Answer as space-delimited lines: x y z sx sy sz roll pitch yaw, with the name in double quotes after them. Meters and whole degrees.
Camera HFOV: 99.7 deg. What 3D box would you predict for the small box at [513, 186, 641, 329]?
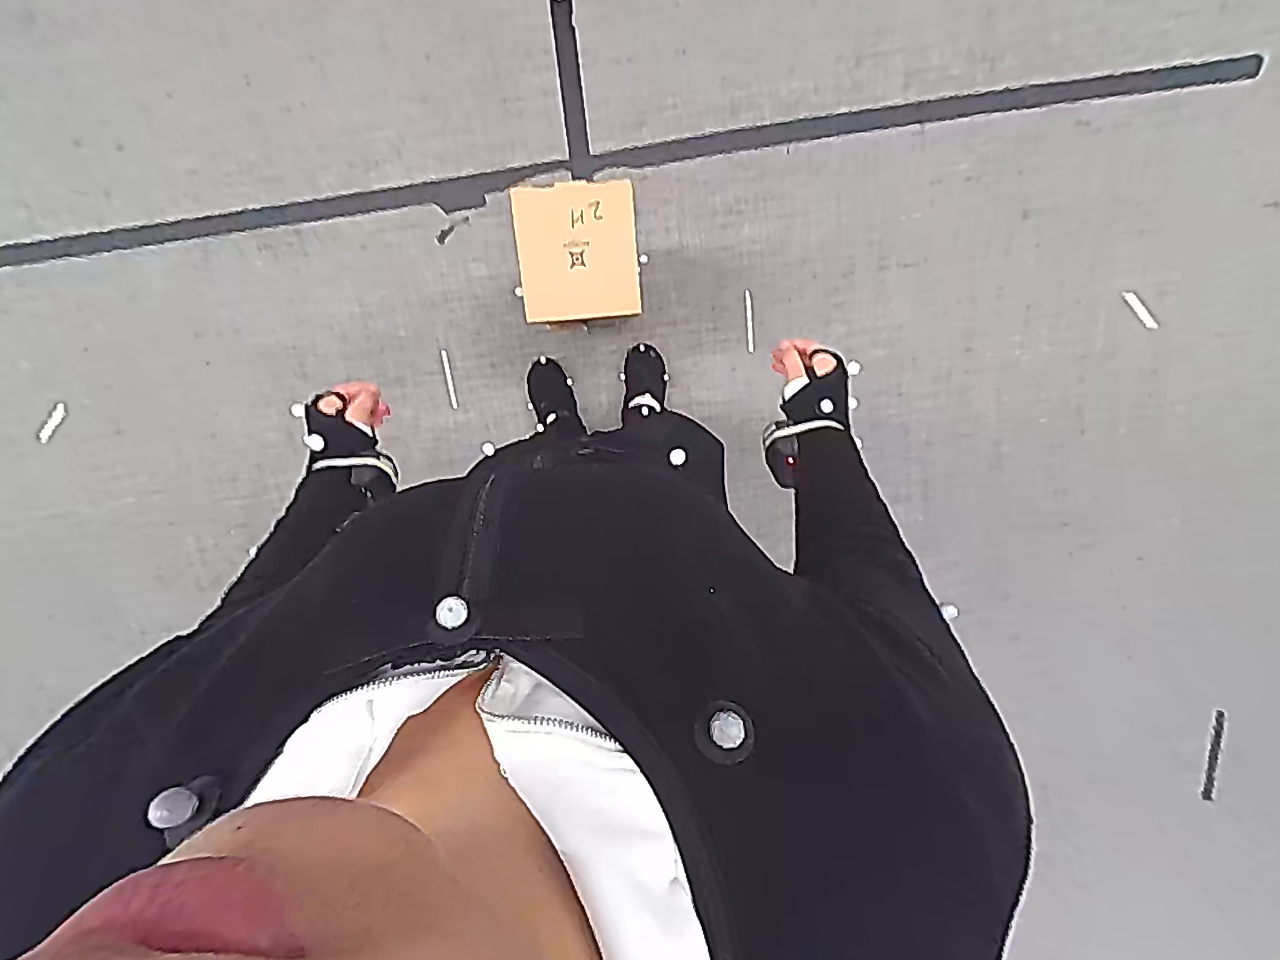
-0.085 -0.326 0.825 0.168 0.176 0.179 -5 104 0 "small box"
